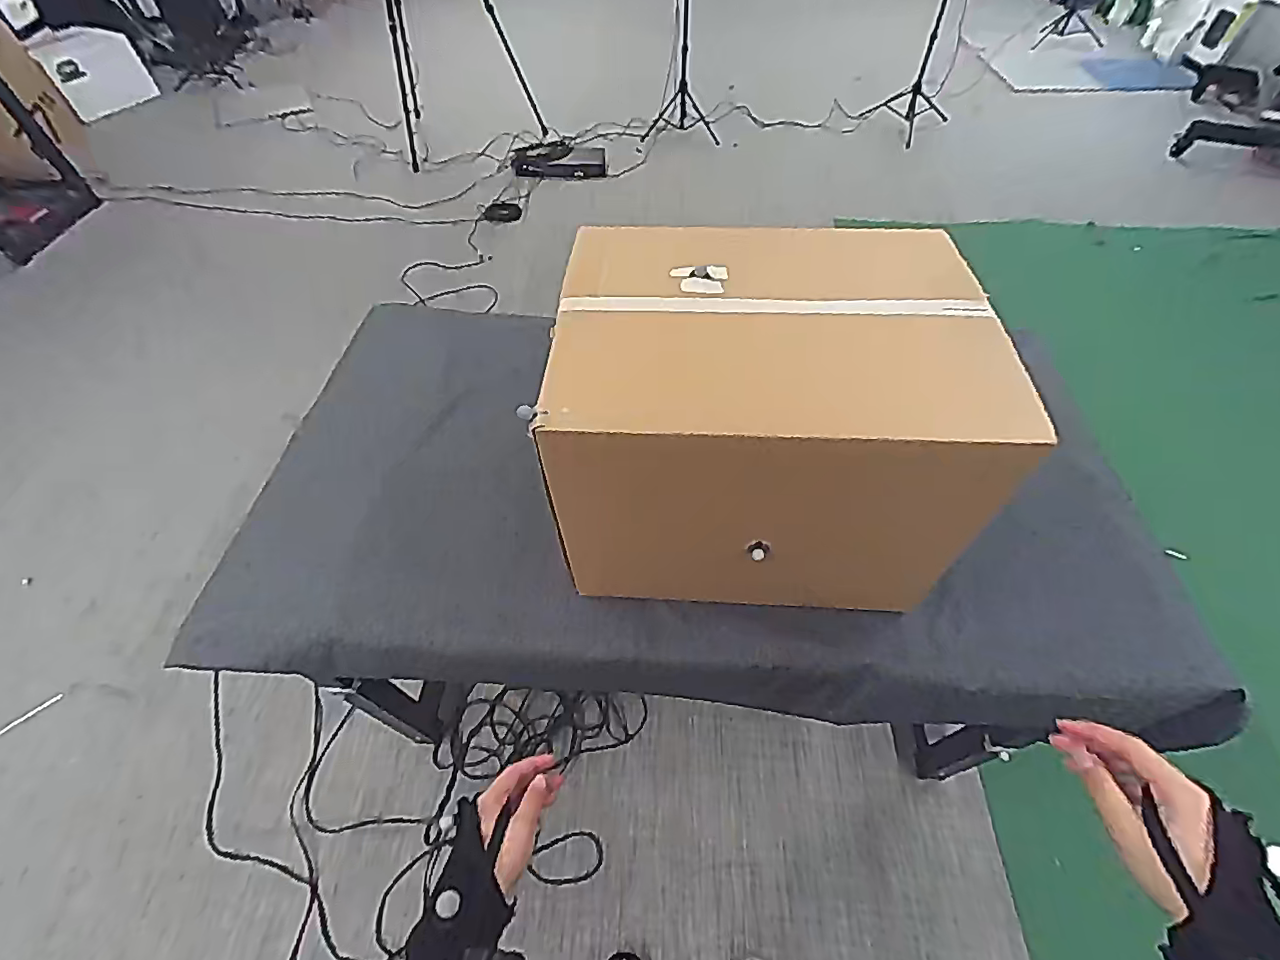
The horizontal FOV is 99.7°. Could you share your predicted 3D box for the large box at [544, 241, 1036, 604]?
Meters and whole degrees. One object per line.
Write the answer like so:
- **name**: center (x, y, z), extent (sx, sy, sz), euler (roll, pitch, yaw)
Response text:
- **large box**: center (0.131, -0.056, 0.643), extent (0.408, 0.320, 0.320), euler (1, 52, 4)
